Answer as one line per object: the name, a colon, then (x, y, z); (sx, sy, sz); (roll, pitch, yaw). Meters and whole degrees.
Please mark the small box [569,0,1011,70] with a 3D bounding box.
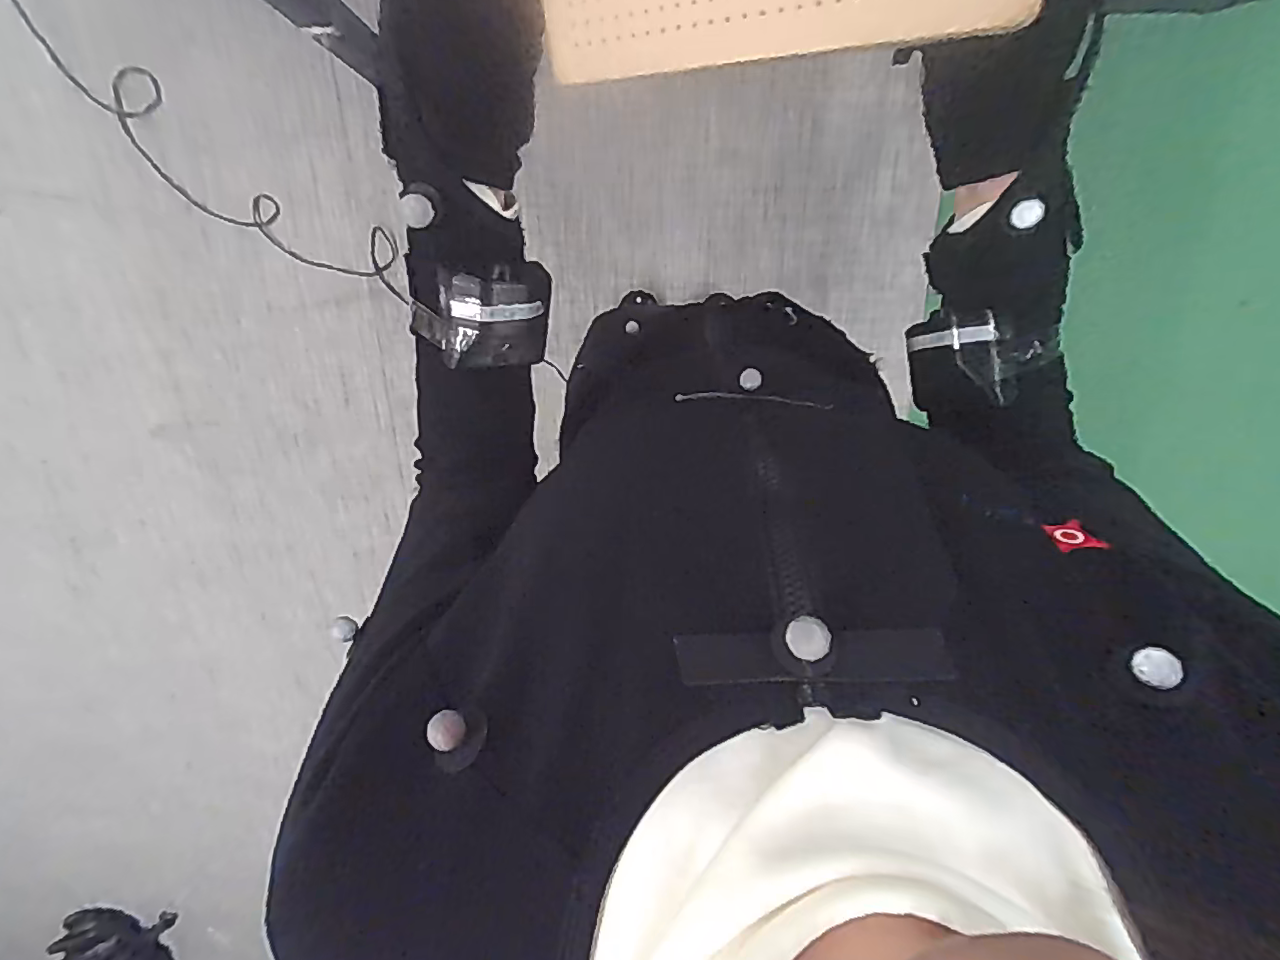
small box: (0.069, -0.280, 0.220); (0.179, 0.168, 0.176); (10, 130, 22)
